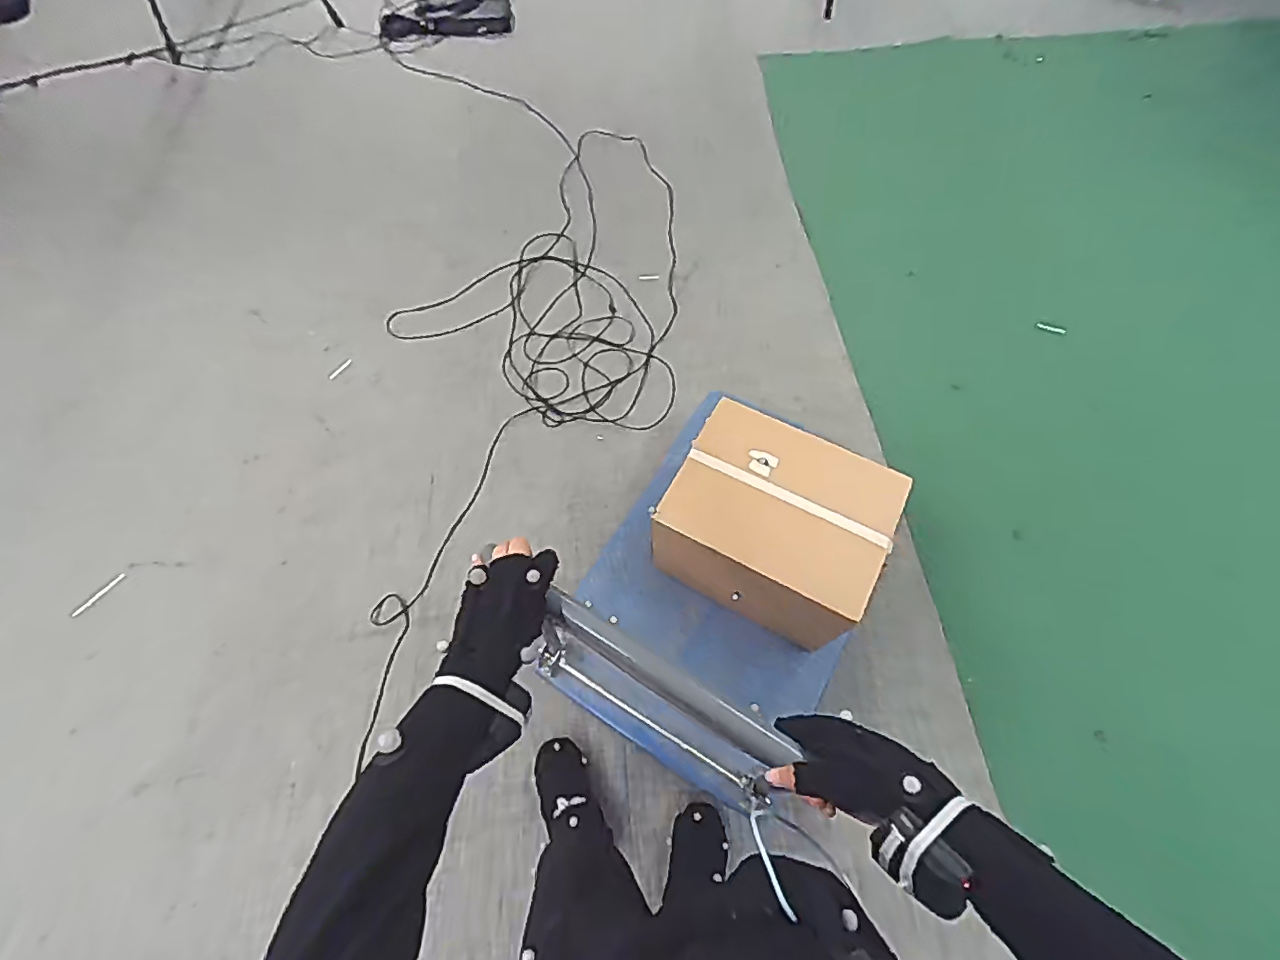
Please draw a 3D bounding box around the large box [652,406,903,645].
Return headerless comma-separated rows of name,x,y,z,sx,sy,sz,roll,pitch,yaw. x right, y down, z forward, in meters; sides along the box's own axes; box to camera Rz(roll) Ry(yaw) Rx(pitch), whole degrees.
large box,0.275,0.108,1.168,0.408,0.320,0.320,25,66,15
